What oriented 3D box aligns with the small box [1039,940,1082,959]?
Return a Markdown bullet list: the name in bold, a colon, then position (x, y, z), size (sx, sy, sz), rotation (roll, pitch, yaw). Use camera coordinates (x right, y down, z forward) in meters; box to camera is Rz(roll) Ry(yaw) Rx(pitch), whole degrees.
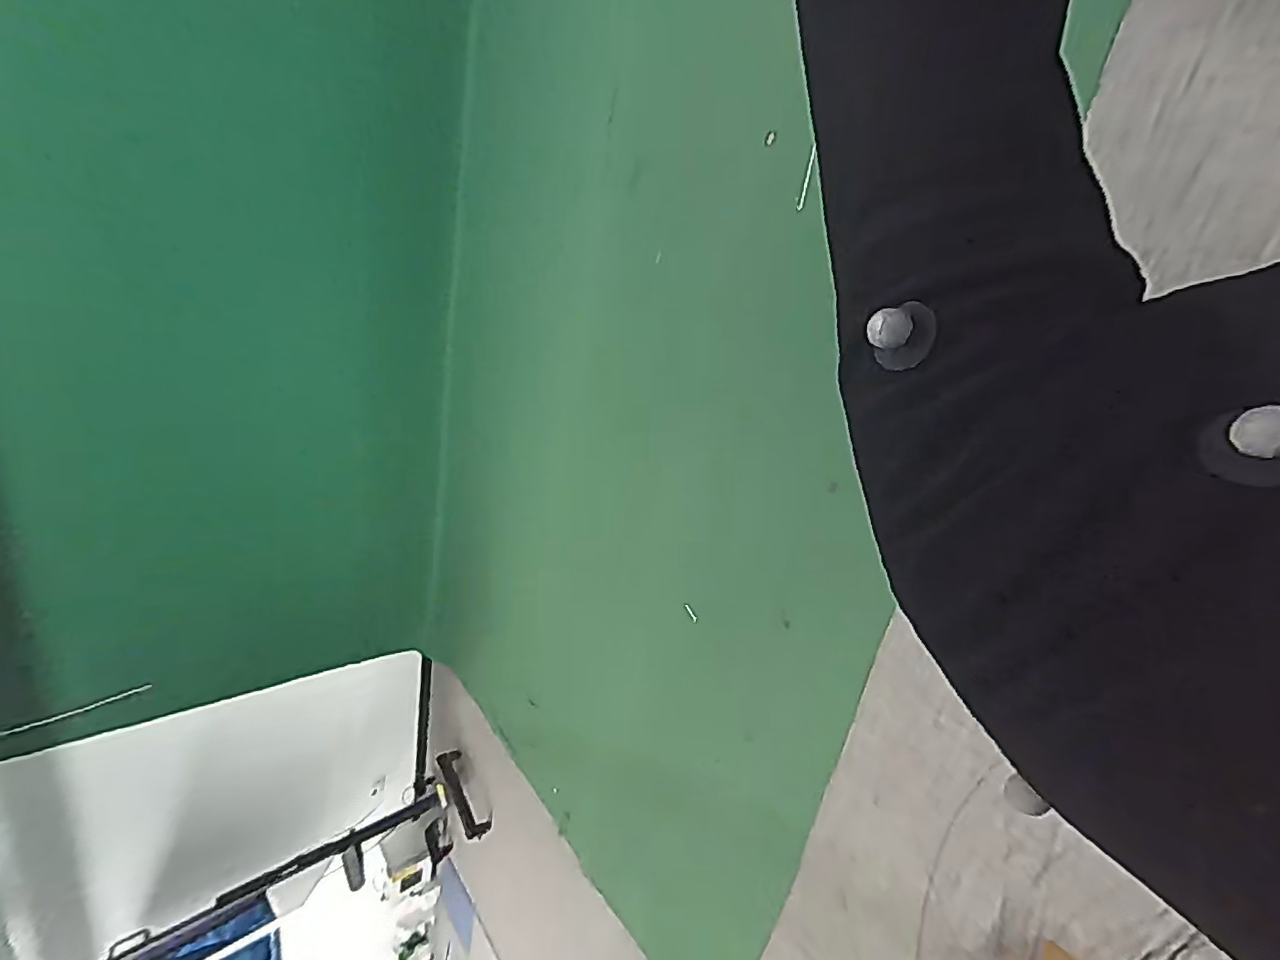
- **small box**: position (0.981, 1.214, 1.224), size (0.168, 0.176, 0.179), rotation (22, 111, 46)
